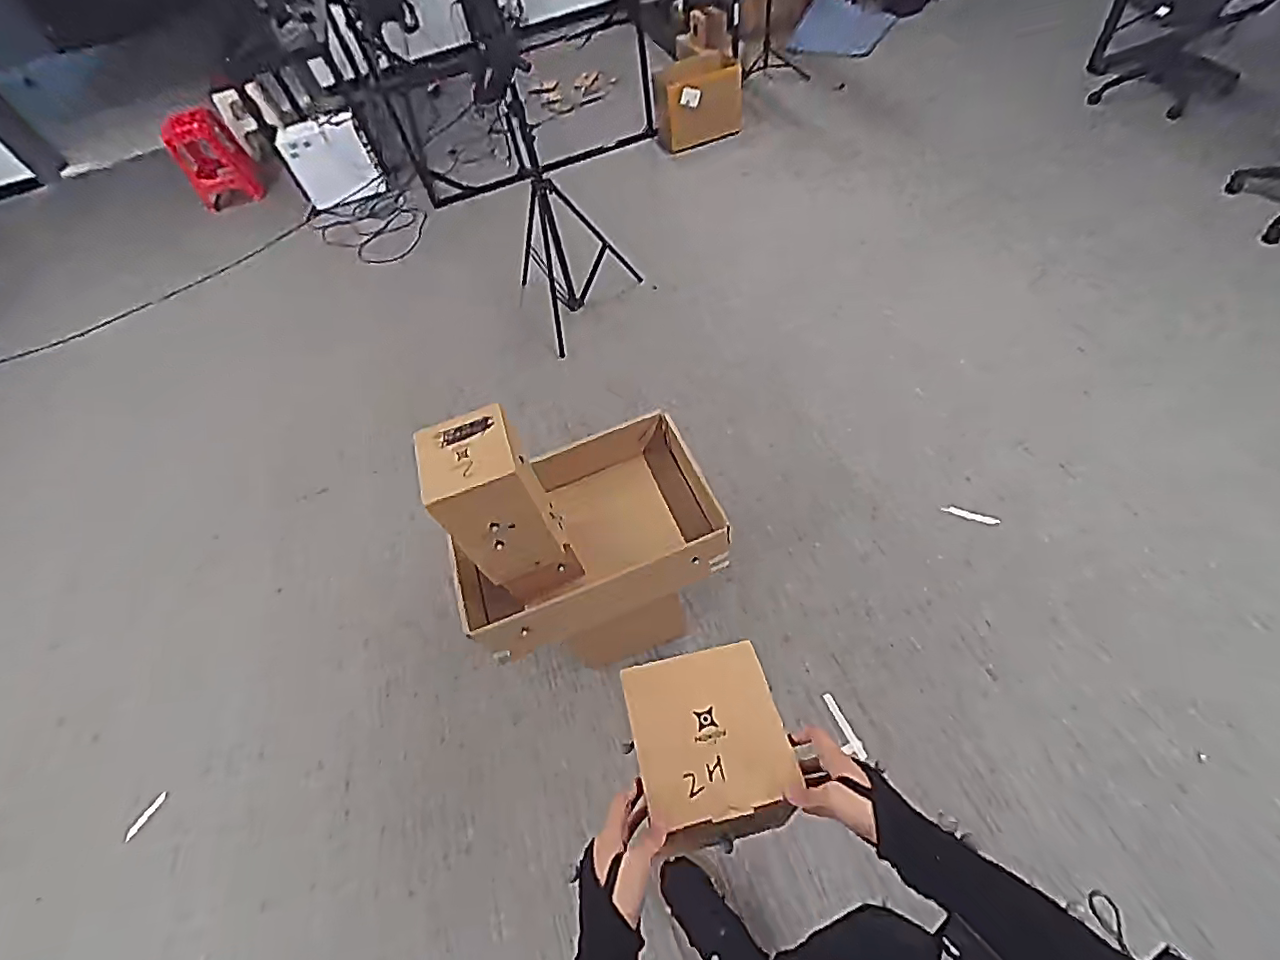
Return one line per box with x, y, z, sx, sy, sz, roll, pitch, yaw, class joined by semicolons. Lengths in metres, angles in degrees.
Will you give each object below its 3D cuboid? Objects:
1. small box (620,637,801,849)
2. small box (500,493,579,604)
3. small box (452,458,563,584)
0.072;0.320;0.658;0.168;0.176;0.179;-10;50;-6;small box
-0.259;0.166;1.290;0.179;0.176;0.168;-27;55;-7;small box
-0.278;0.090;1.146;0.168;0.176;0.179;-22;54;-4;small box
